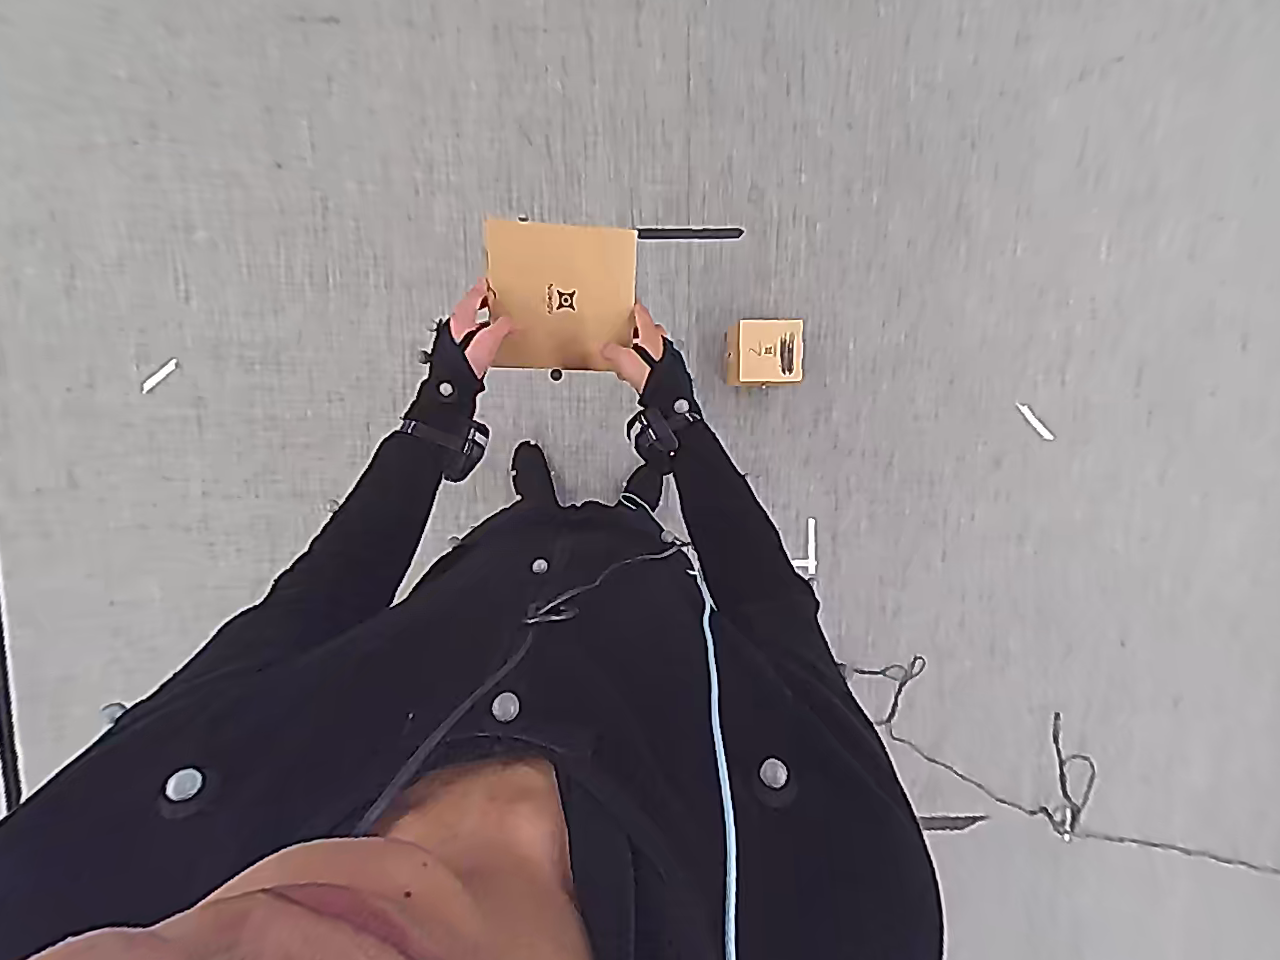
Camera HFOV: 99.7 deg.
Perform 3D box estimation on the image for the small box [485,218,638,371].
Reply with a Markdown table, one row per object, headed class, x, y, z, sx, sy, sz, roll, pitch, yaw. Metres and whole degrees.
| class | x | y | z | sx | sy | sz | roll | pitch | yaw |
| --- | --- | --- | --- | --- | --- | --- | --- | --- | --- |
| small box | -0.101 | -0.240 | 0.714 | 0.179 | 0.176 | 0.168 | 1 | 108 | -6 |
